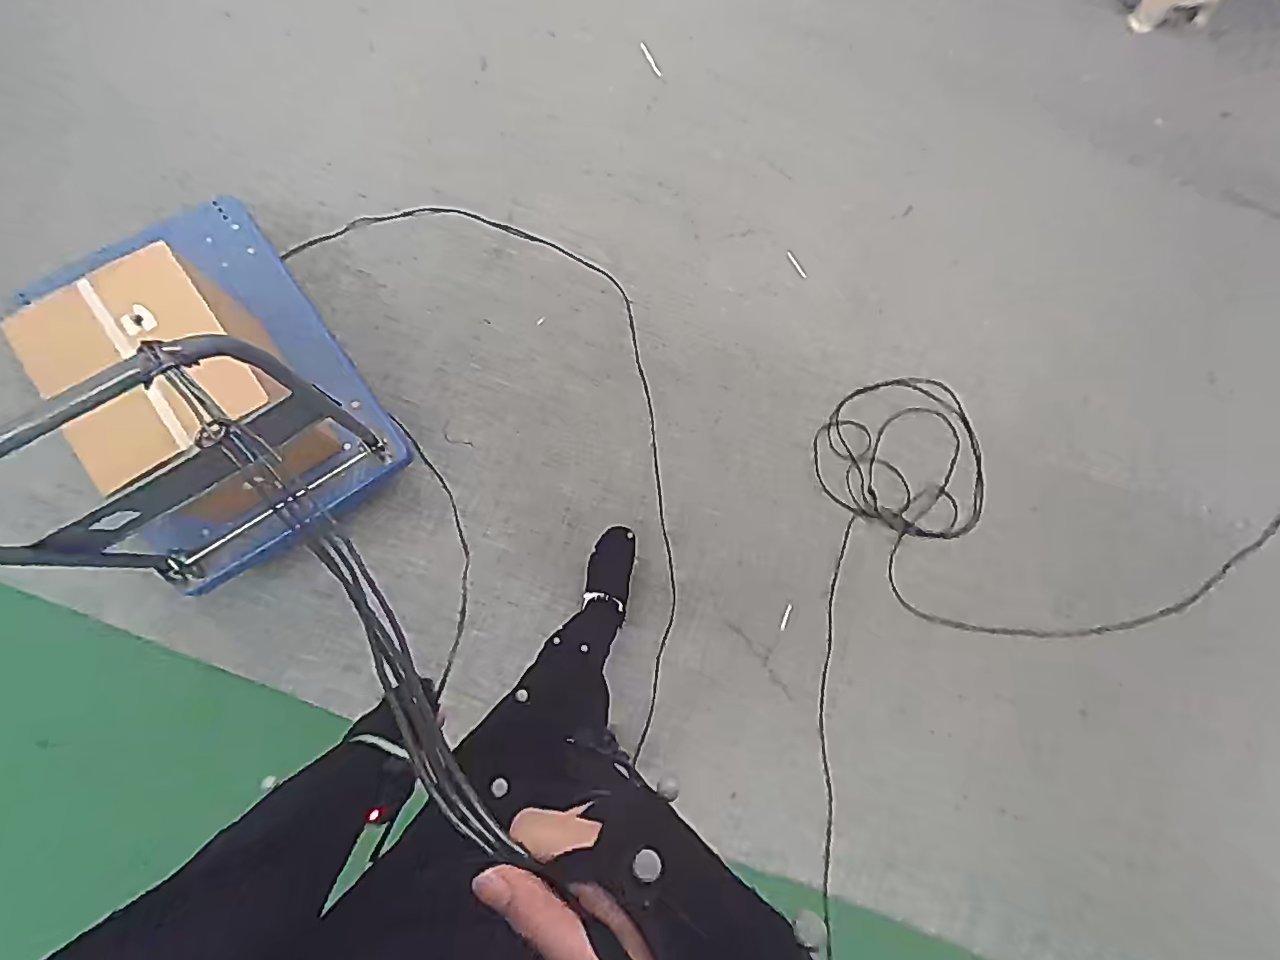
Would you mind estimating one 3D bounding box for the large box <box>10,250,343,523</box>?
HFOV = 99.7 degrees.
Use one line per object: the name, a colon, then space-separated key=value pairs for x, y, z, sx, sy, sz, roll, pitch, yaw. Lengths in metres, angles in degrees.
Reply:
large box: x=-0.924 y=-0.173 z=1.135 sx=0.320 sy=0.320 sz=0.408 roll=-35 pitch=82 yaw=-12
